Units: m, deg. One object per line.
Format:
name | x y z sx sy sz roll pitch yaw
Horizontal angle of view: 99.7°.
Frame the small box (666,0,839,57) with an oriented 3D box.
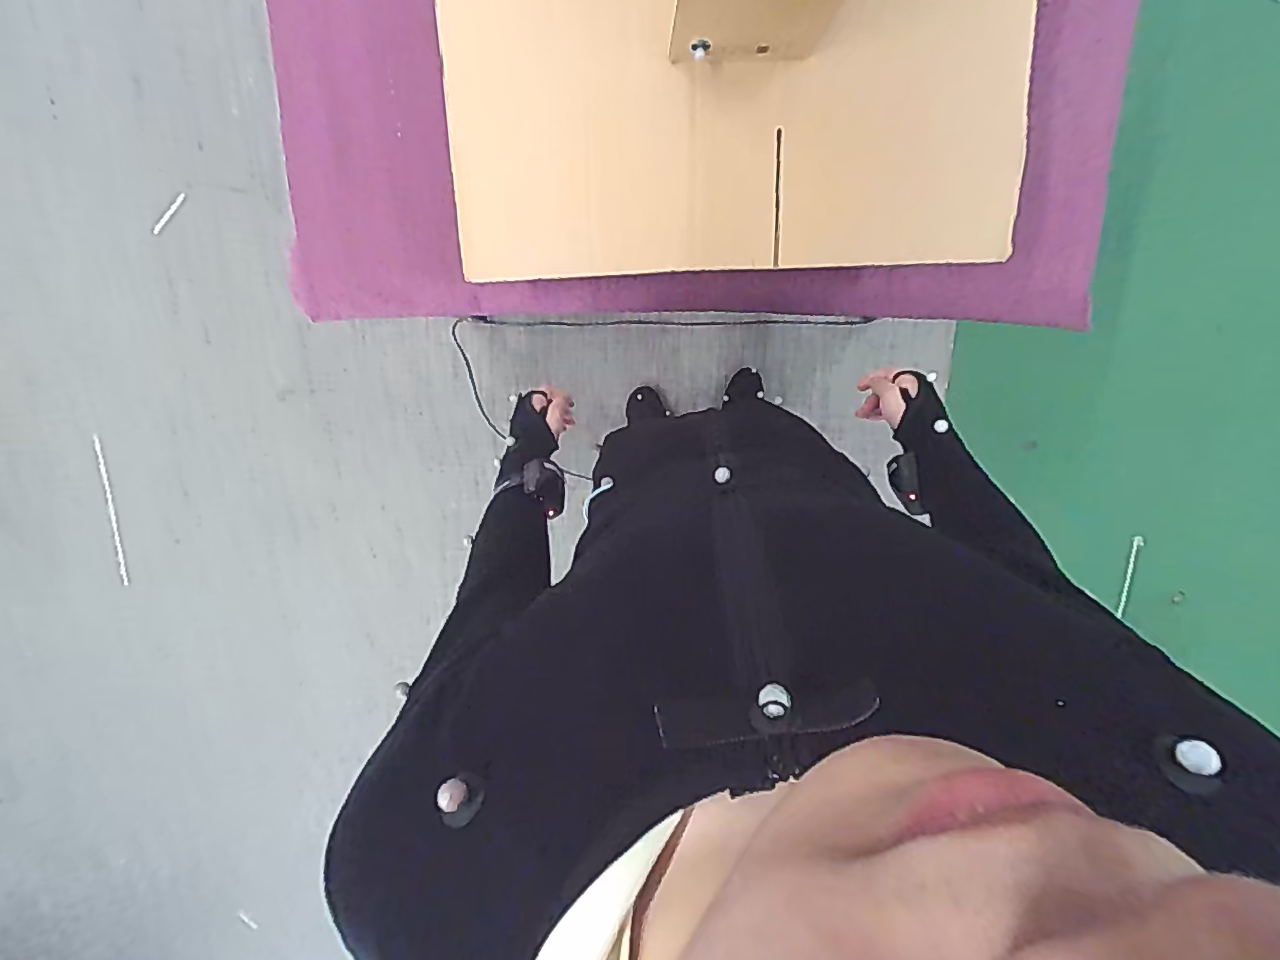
small box | 0.112 -0.540 0.514 0.168 0.176 0.179 -3 101 -2
